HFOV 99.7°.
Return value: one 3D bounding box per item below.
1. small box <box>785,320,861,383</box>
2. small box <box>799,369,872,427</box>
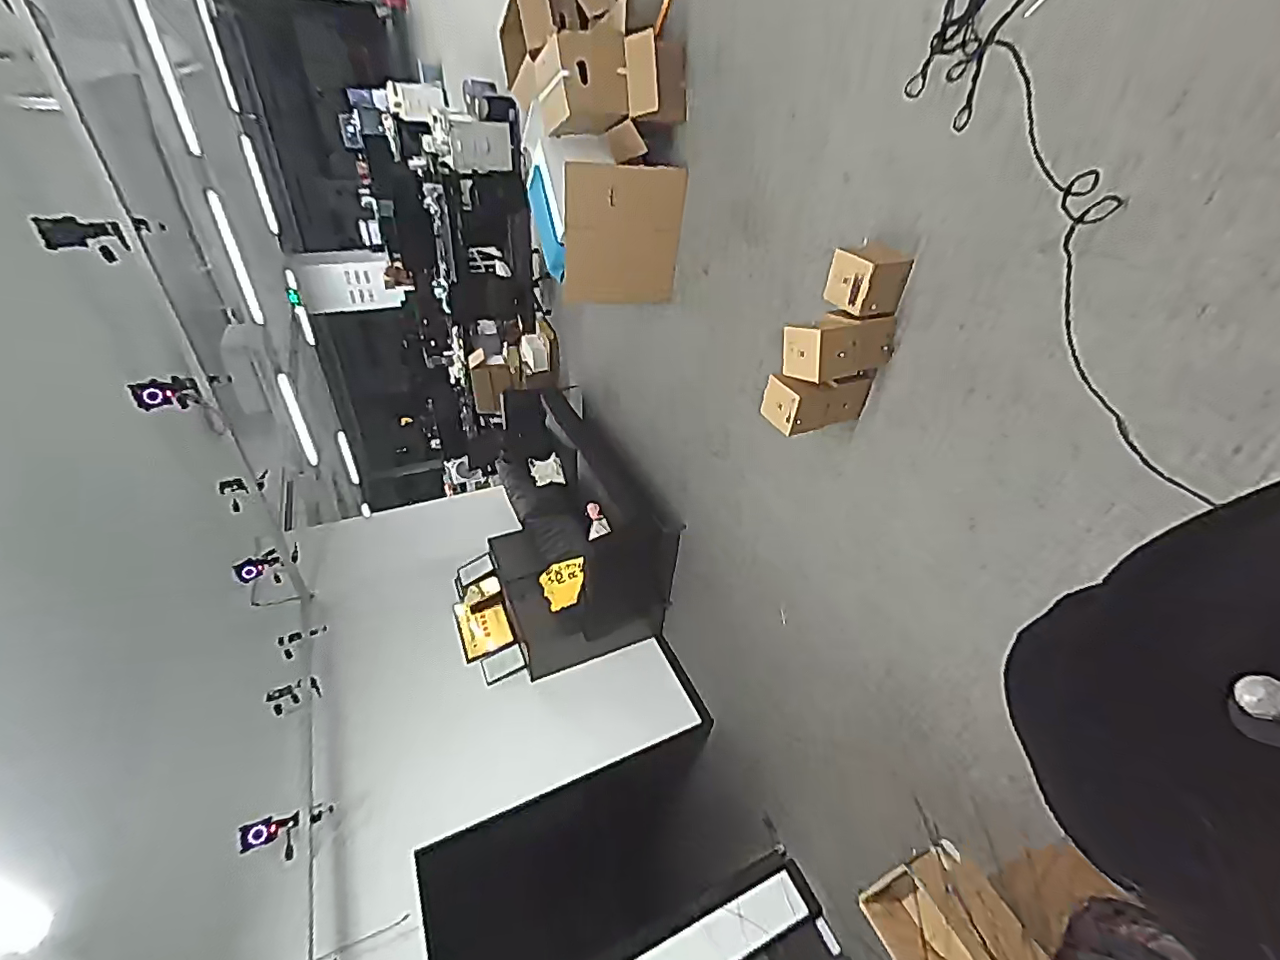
[{"bbox_3d":[0.603,-0.430,1.782,0.179,0.176,0.168,-142,42,-58],"label":"small box"},{"bbox_3d":[0.722,-0.324,1.995,0.168,0.176,0.179,-126,30,-44],"label":"small box"}]
